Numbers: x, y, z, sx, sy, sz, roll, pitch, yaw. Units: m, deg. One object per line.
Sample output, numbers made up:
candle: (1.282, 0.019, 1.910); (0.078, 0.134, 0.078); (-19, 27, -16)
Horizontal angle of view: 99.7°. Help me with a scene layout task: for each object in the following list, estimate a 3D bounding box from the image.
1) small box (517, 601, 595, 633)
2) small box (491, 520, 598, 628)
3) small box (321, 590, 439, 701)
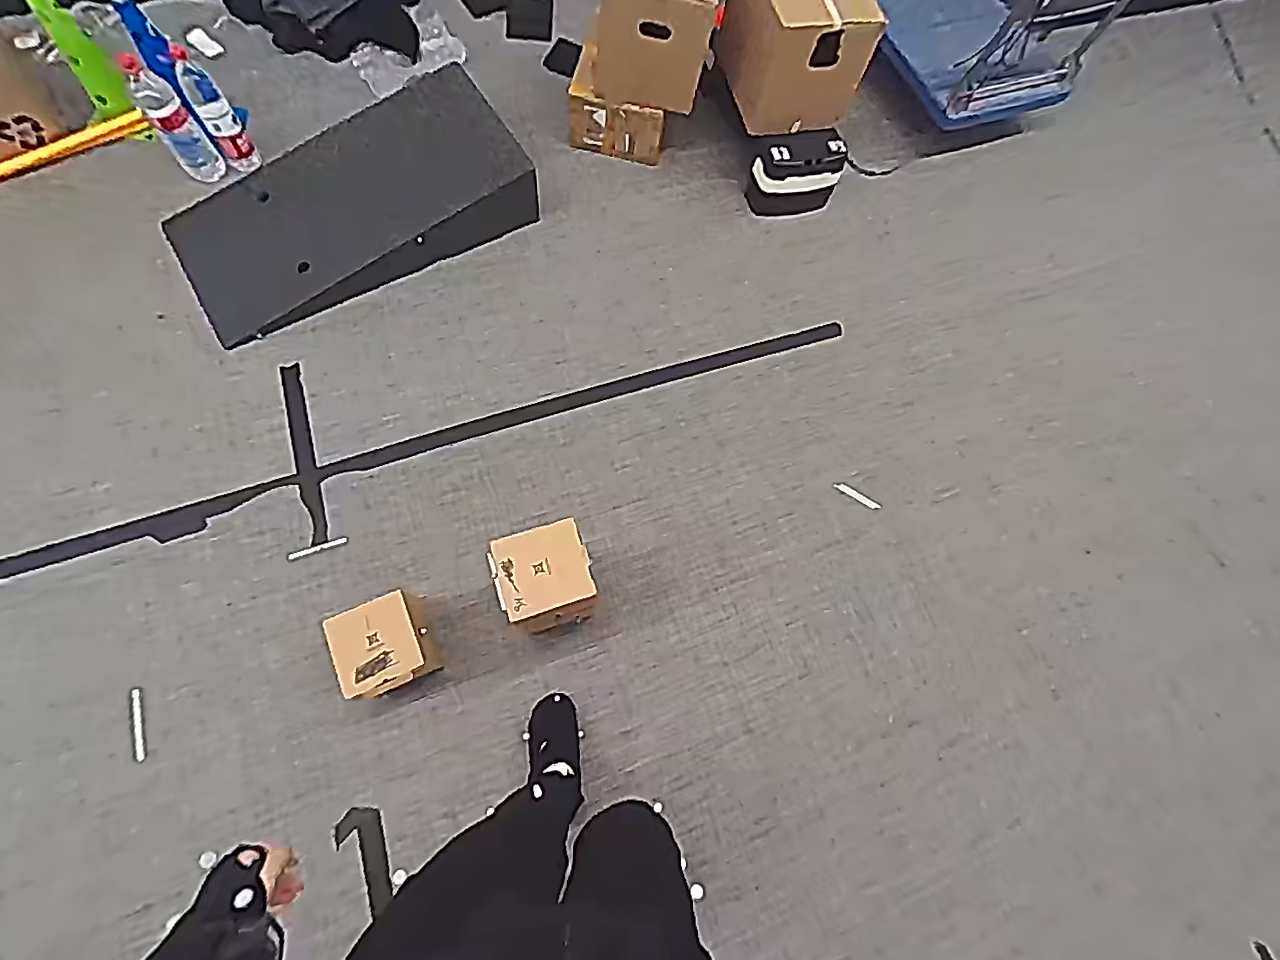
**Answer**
small box: (-0.213, 0.256, 1.275); (0.179, 0.176, 0.168); (-14, 72, -11)
small box: (-0.197, 0.199, 1.122); (0.179, 0.176, 0.168); (-15, 72, -12)
small box: (-0.563, 0.364, 1.193); (0.168, 0.176, 0.179); (-22, 74, -14)
